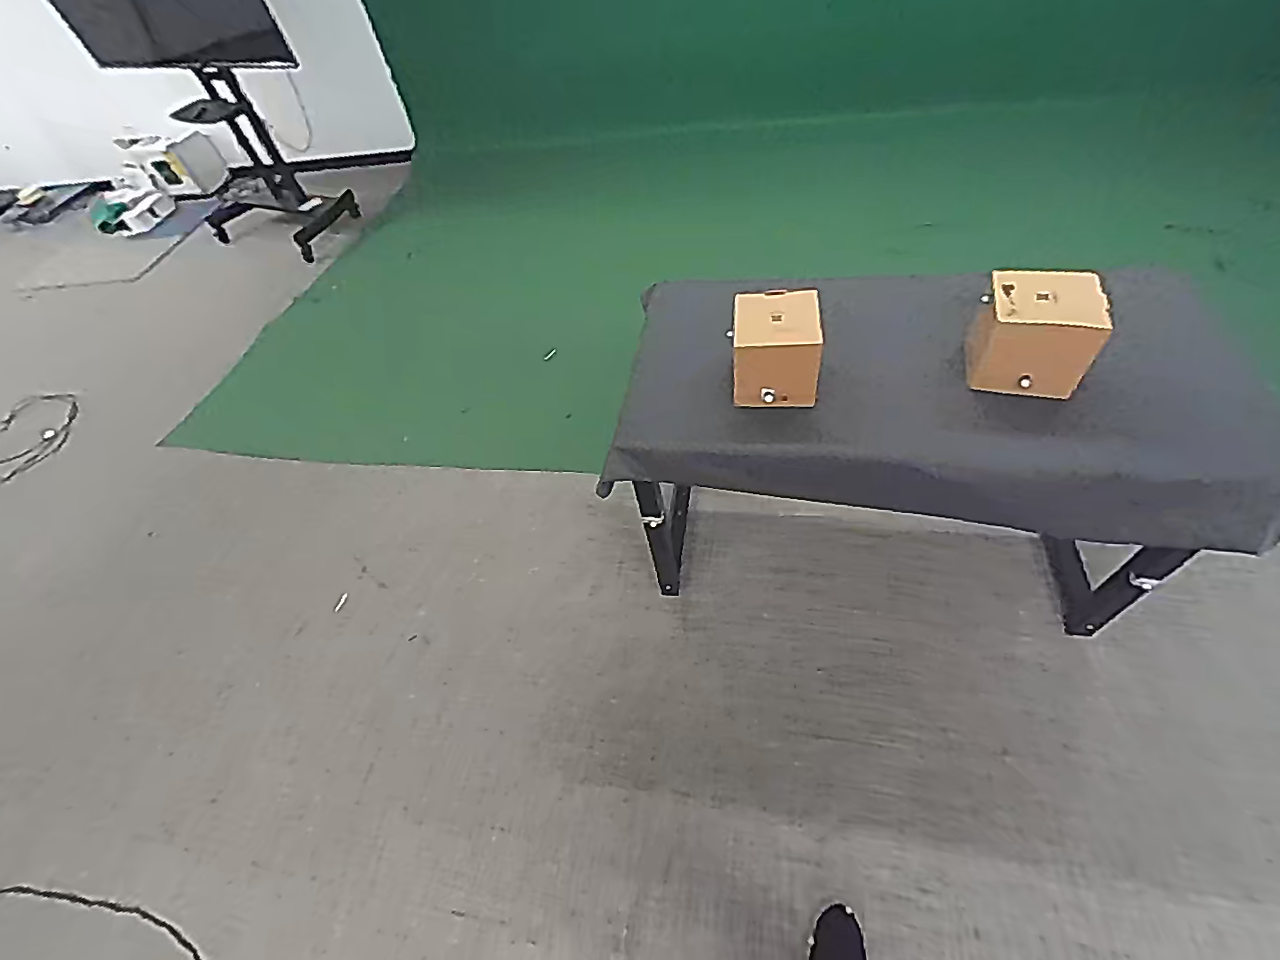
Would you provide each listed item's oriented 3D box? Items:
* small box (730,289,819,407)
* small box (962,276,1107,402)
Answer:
[{"bbox_3d":[0.276,-0.271,1.121,0.168,0.176,0.179,1,52,13],"label":"small box"},{"bbox_3d":[0.755,-0.271,1.056,0.179,0.176,0.168,10,55,17],"label":"small box"}]
